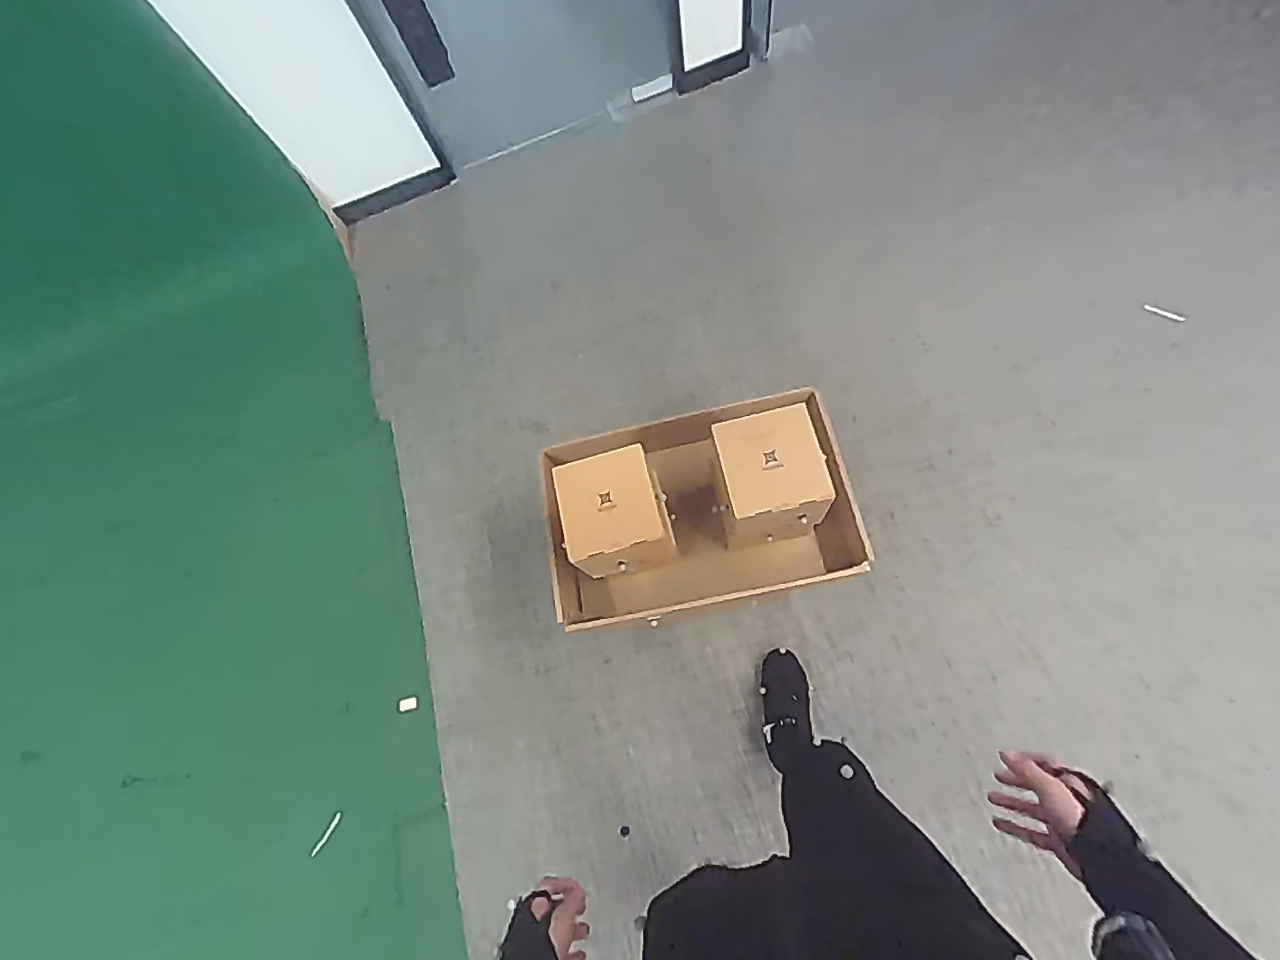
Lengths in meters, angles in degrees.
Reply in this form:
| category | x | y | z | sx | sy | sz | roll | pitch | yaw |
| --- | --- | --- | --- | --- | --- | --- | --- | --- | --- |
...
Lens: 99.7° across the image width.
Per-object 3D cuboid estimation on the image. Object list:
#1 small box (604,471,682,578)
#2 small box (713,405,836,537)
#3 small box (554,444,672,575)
| category | x | y | z | sx | sy | sz | roll | pitch | yaw |
| --- | --- | --- | --- | --- | --- | --- | --- | --- | --- |
| small box | -0.018 | 0.102 | 1.138 | 0.179 | 0.176 | 0.168 | -14 | 70 | 4 |
| small box | 0.230 | -0.006 | 0.957 | 0.168 | 0.176 | 0.179 | -12 | 69 | 4 |
| small box | -0.044 | 0.060 | 0.982 | 0.168 | 0.176 | 0.179 | -15 | 70 | 4 |
